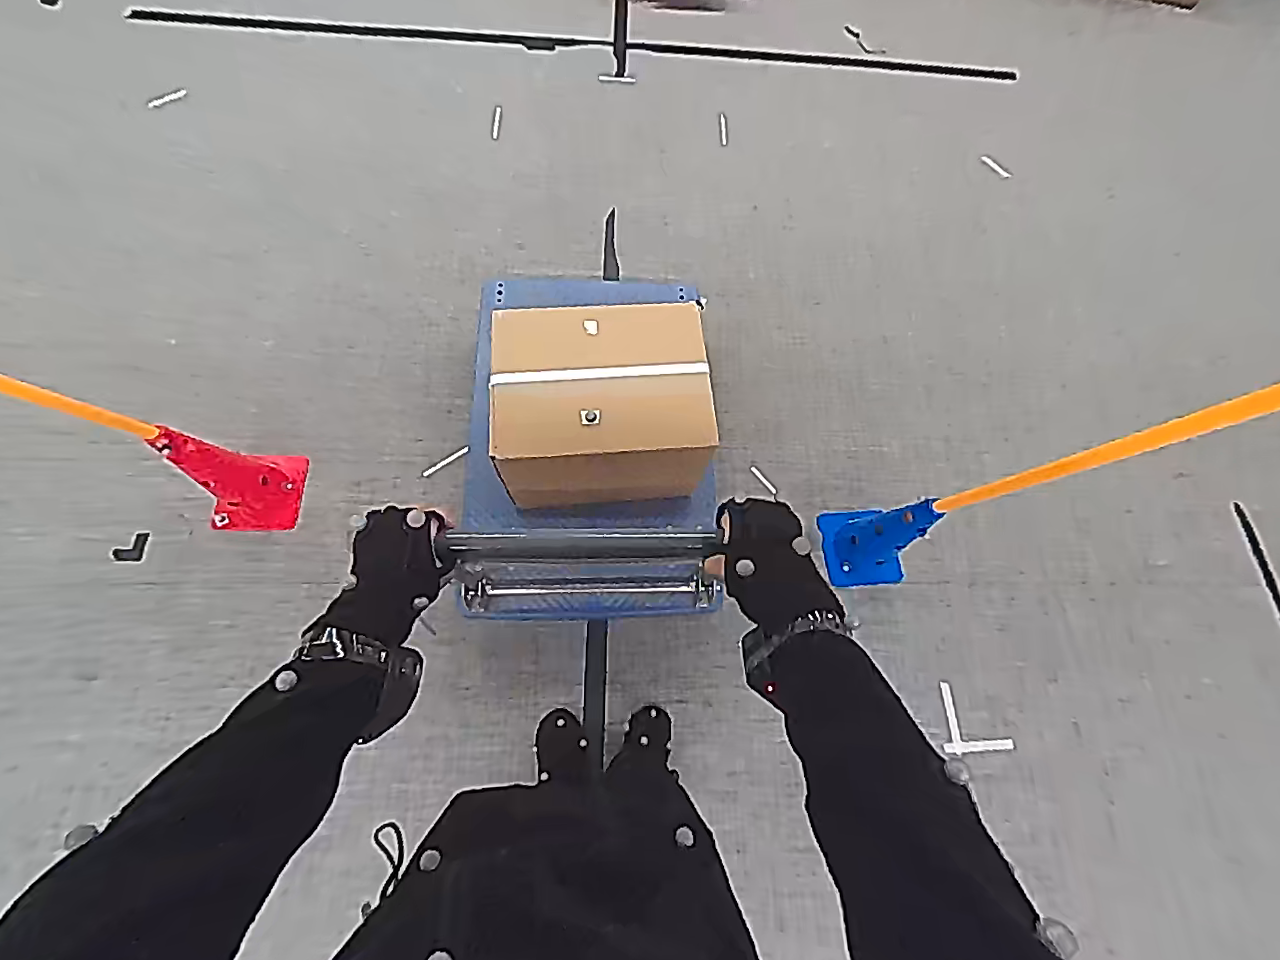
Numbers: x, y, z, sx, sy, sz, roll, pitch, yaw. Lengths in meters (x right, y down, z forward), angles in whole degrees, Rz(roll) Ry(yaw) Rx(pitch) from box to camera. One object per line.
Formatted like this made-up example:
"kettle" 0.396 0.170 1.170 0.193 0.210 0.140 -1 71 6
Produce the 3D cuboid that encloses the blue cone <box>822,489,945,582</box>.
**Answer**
"blue cone" 0.597 0.112 1.274 0.193 0.380 0.192 -2 69 -6
